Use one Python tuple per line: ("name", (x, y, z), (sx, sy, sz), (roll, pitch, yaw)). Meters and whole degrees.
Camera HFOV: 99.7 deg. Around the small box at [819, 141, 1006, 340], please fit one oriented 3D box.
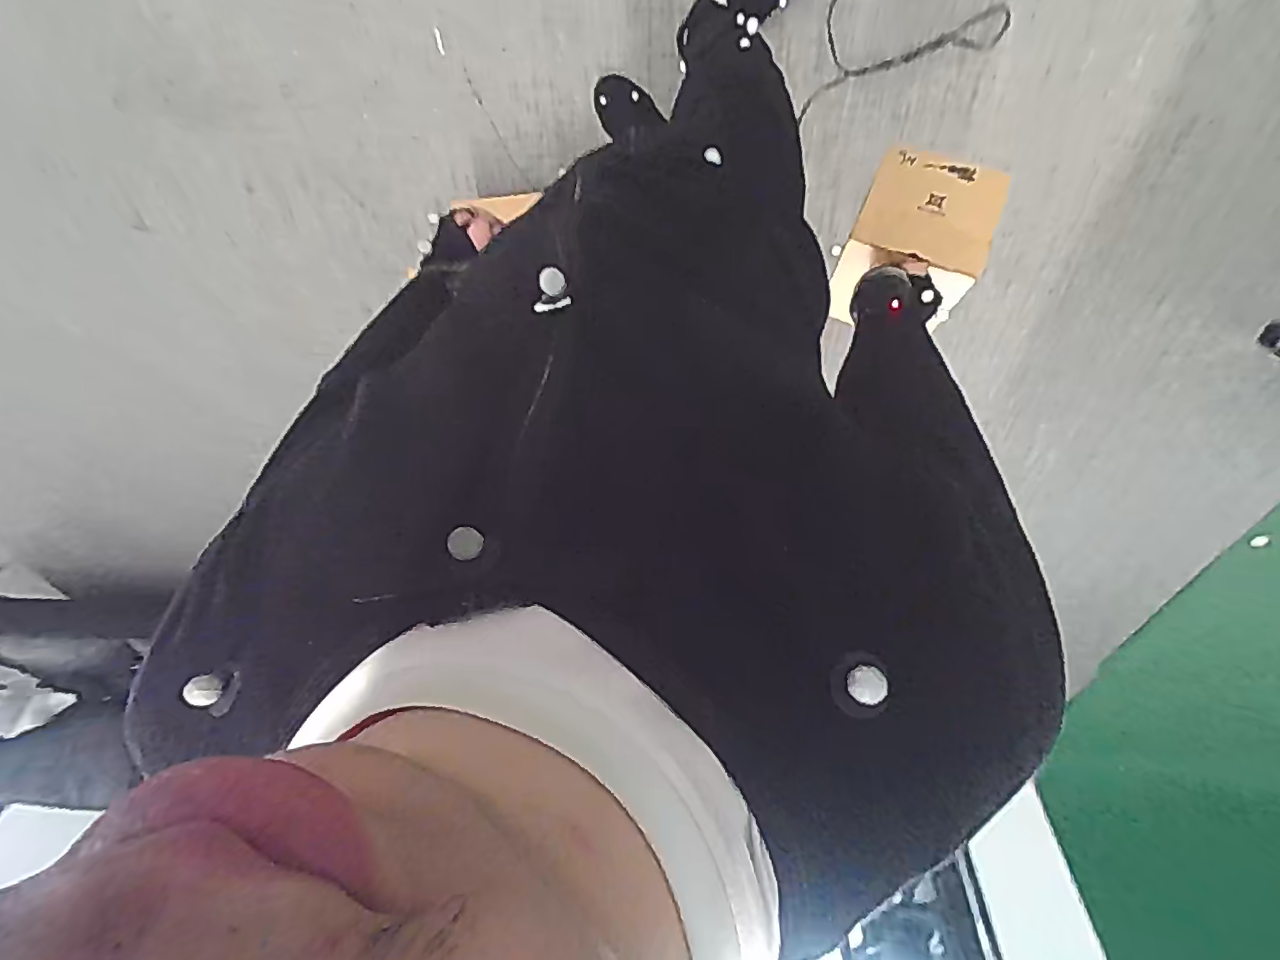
("small box", (0.379, -0.335, 0.786), (0.168, 0.179, 0.176), (25, 167, 9))
